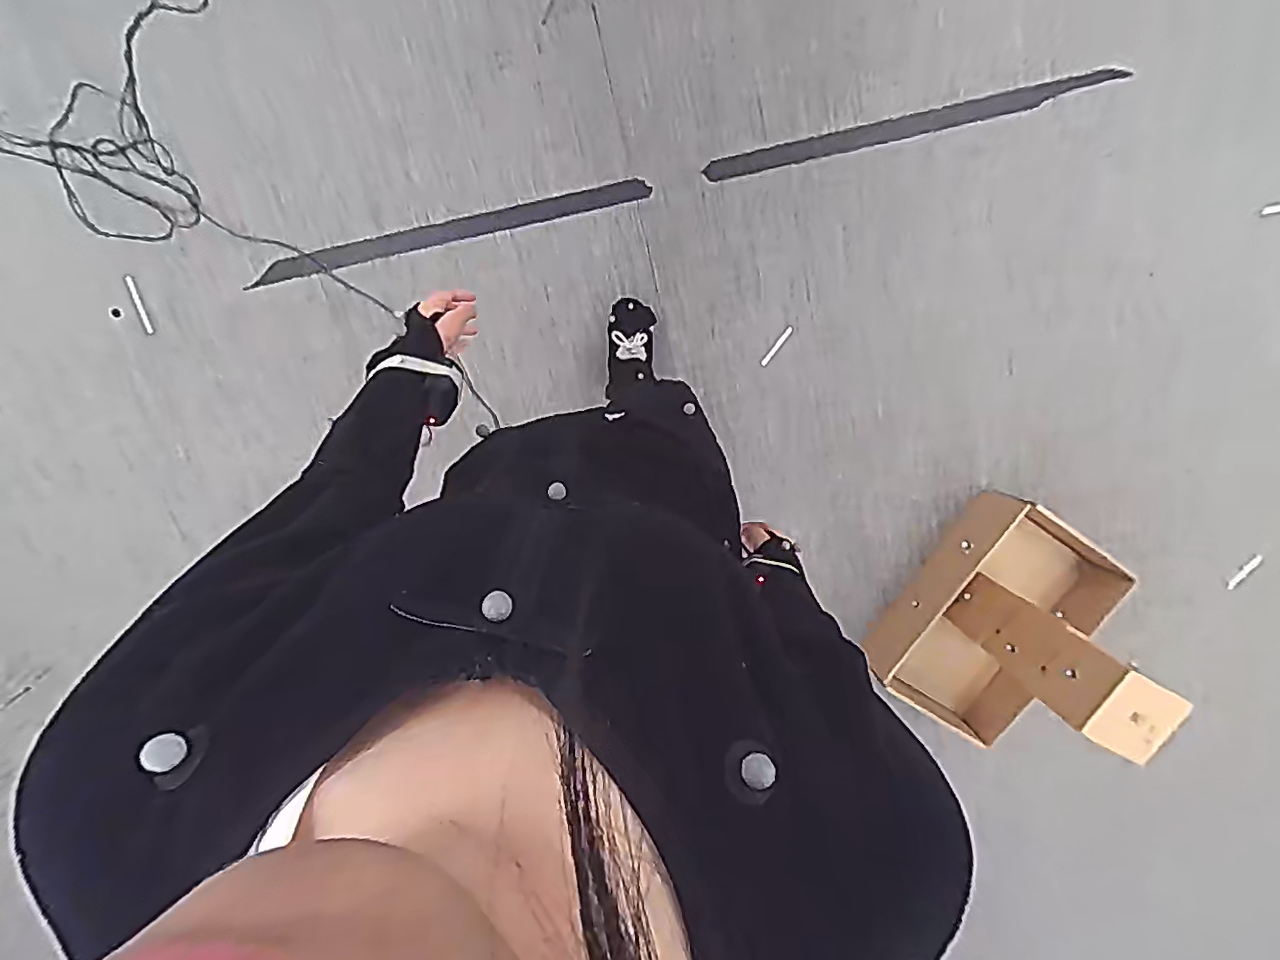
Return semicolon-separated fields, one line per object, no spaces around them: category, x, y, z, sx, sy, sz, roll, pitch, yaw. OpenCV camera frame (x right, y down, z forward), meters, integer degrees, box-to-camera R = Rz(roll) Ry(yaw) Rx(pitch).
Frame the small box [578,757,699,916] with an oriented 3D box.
small box;-0.007;0.709;1.094;0.168;0.176;0.179;37;99;-9

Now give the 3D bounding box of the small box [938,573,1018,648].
small box;0.980;0.383;1.496;0.179;0.176;0.168;32;100;-8

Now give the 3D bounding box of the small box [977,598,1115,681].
small box;0.992;0.417;1.338;0.179;0.176;0.168;27;102;-9

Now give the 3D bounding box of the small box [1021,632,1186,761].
small box;0.993;0.460;1.178;0.179;0.176;0.168;28;103;-8
